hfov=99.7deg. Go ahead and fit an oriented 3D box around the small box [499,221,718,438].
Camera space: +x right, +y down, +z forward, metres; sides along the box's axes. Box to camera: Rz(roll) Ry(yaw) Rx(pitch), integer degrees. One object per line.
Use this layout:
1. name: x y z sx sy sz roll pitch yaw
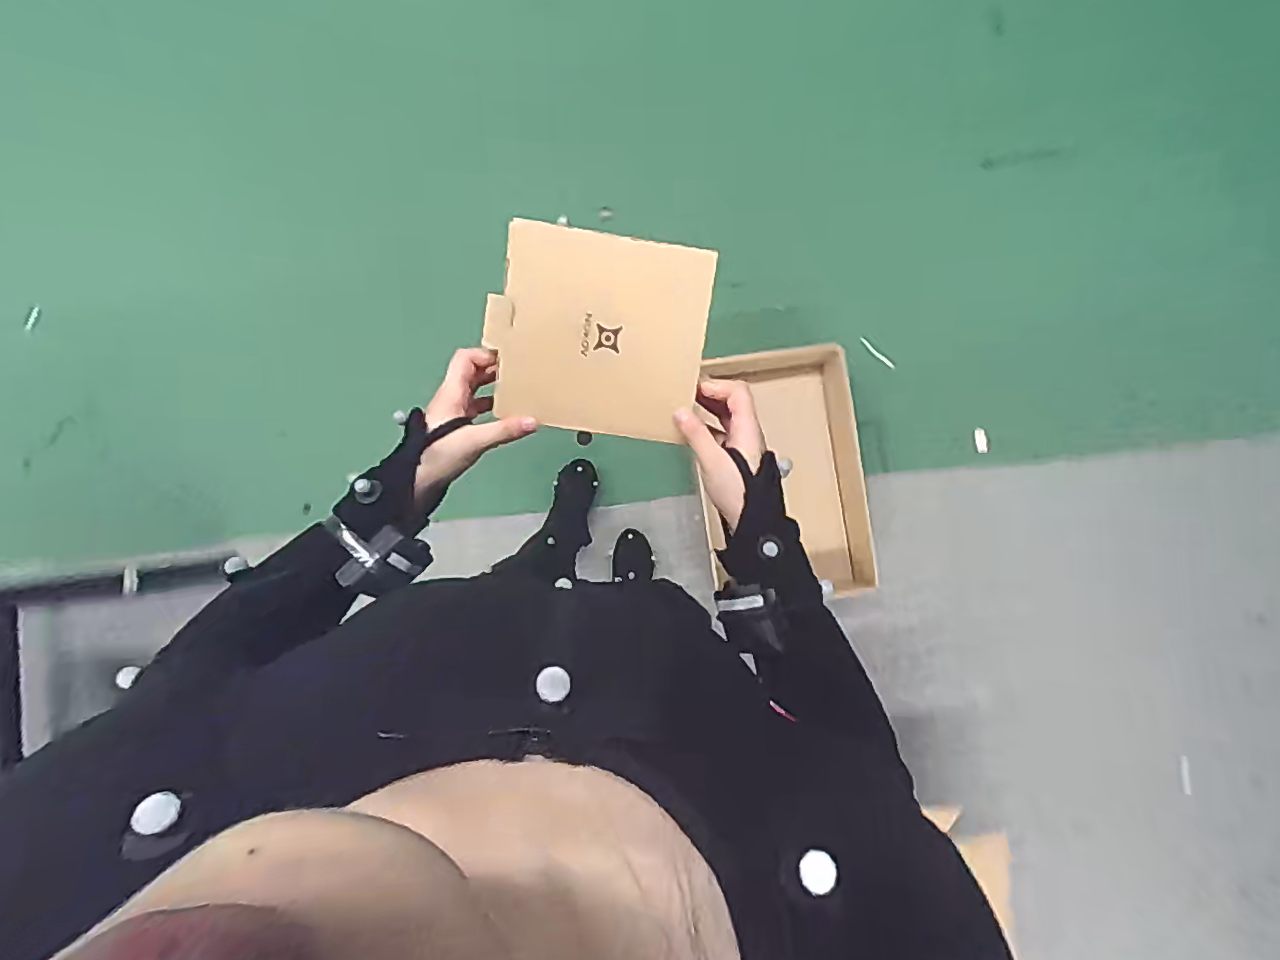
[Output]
1. small box: -0.031 -0.141 0.541 0.179 0.176 0.168 6 101 -2
